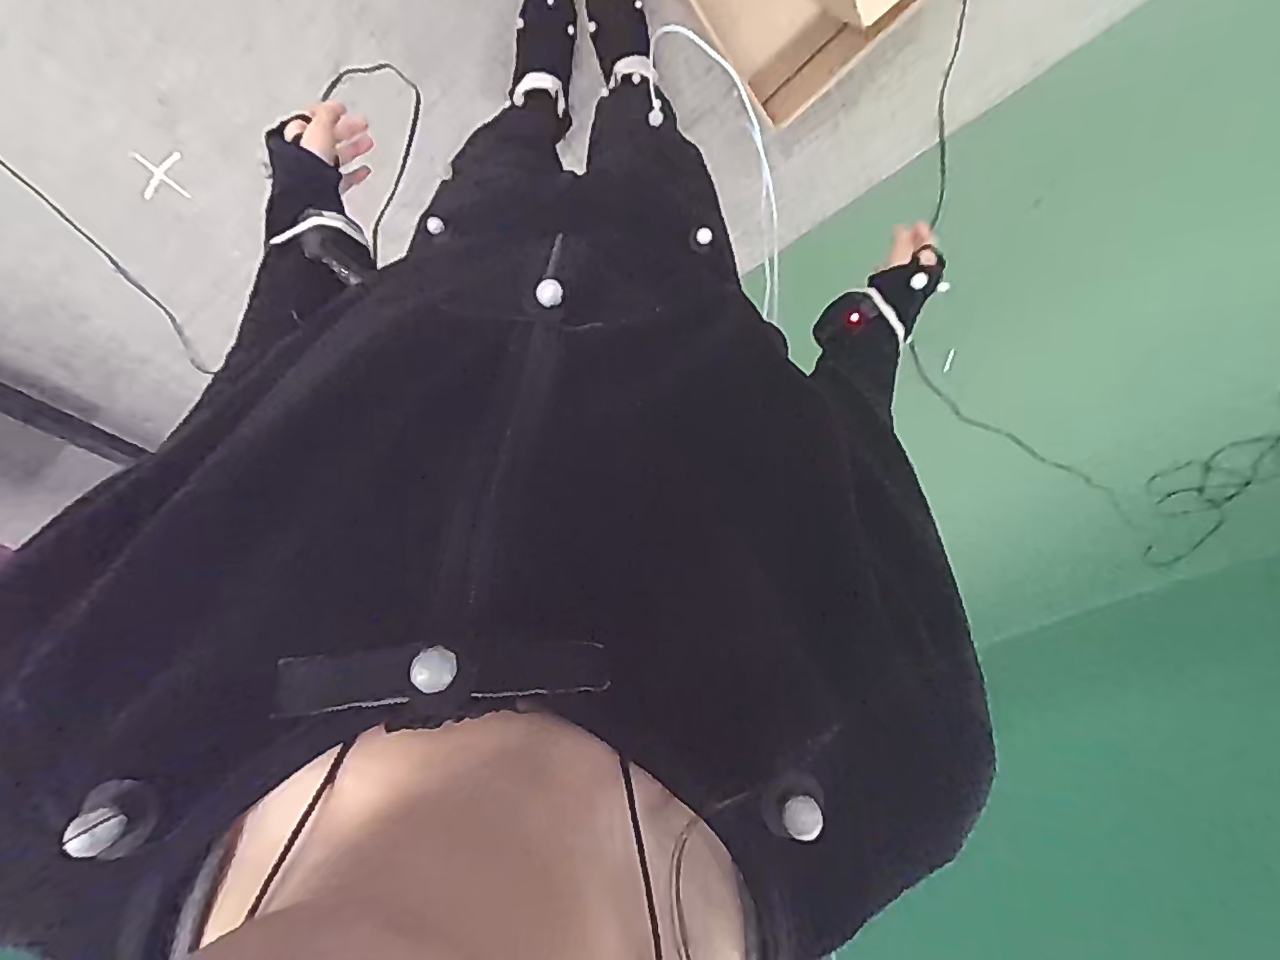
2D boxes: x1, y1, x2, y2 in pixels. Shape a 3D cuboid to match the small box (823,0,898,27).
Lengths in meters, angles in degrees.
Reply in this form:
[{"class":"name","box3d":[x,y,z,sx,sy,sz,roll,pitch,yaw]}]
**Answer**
[{"class":"small box","box3d":[0.339,-0.804,0.763,0.179,0.176,0.168,-31,132,25]}]
